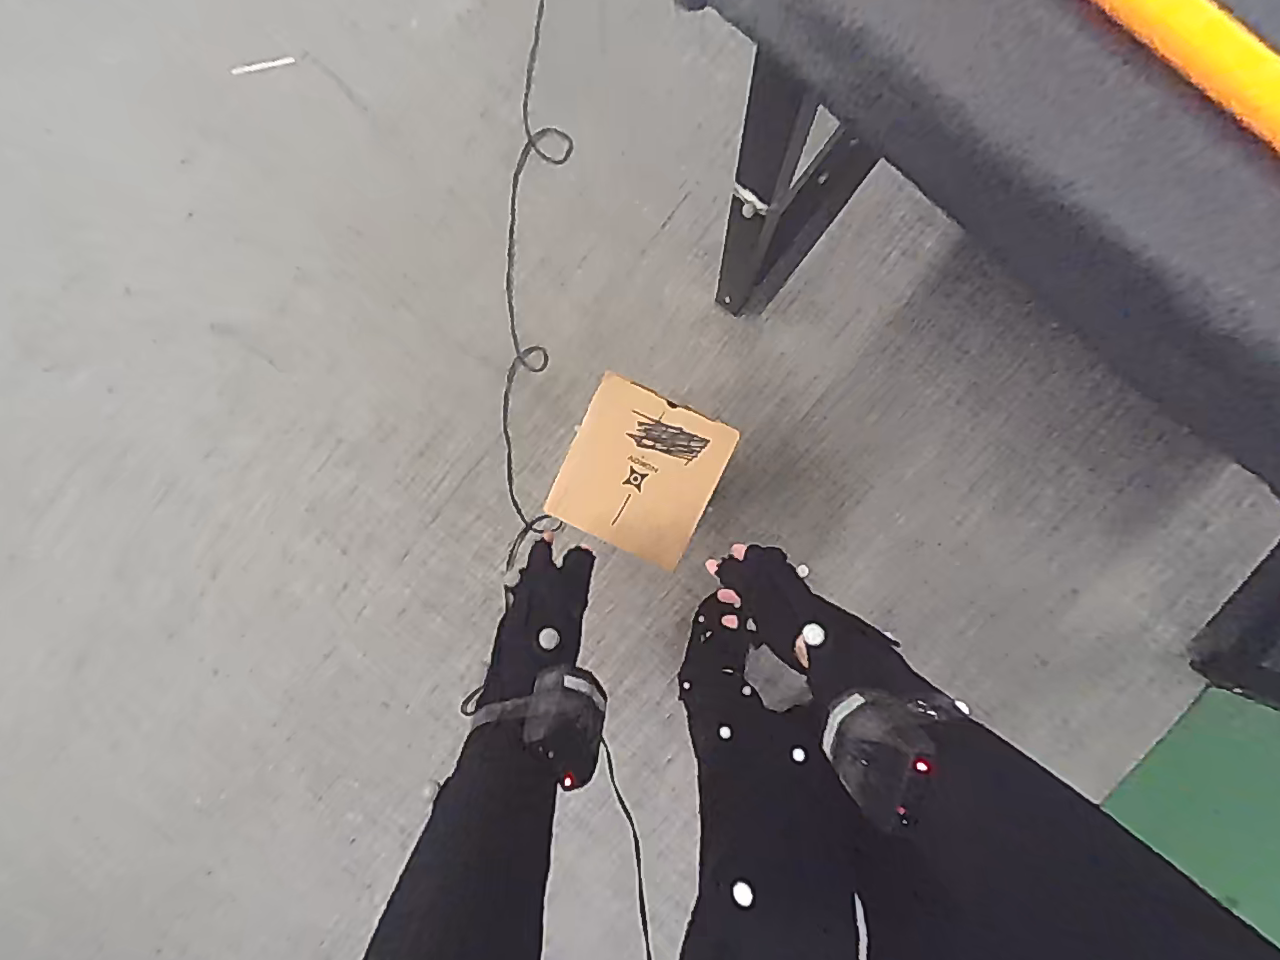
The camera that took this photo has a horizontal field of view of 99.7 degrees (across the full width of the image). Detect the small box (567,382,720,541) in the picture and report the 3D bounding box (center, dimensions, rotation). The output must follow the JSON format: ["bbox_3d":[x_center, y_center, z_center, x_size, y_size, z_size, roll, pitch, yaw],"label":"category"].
[{"bbox_3d":[0.013,-0.026,0.841,0.168,0.176,0.179,28,93,5],"label":"small box"}]
